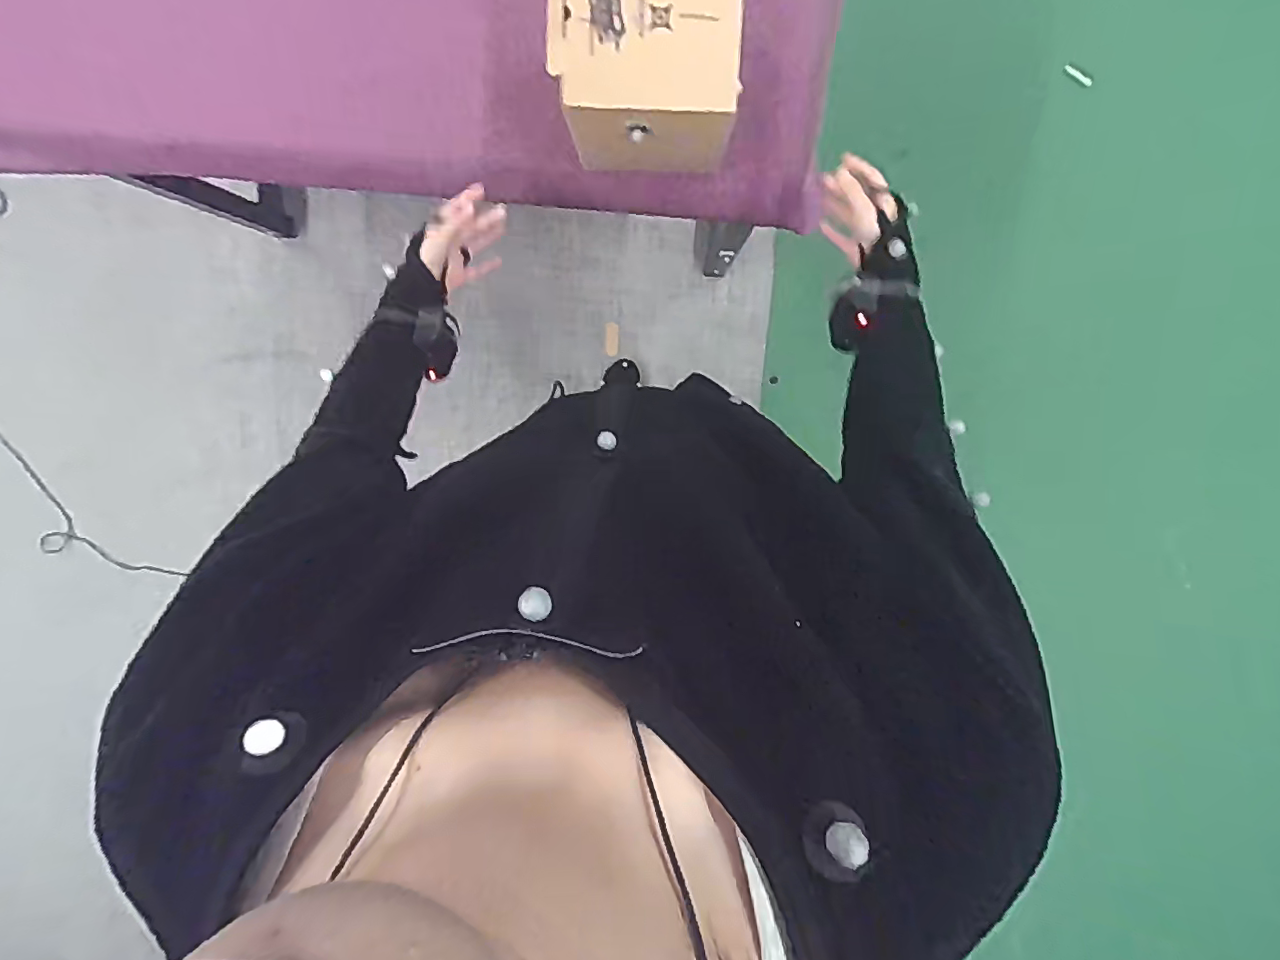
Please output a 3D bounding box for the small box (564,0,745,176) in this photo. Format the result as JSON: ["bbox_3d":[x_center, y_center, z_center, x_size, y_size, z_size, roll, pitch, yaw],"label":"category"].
[{"bbox_3d":[0.017,-0.461,0.607,0.179,0.176,0.168,3,101,1],"label":"small box"}]
